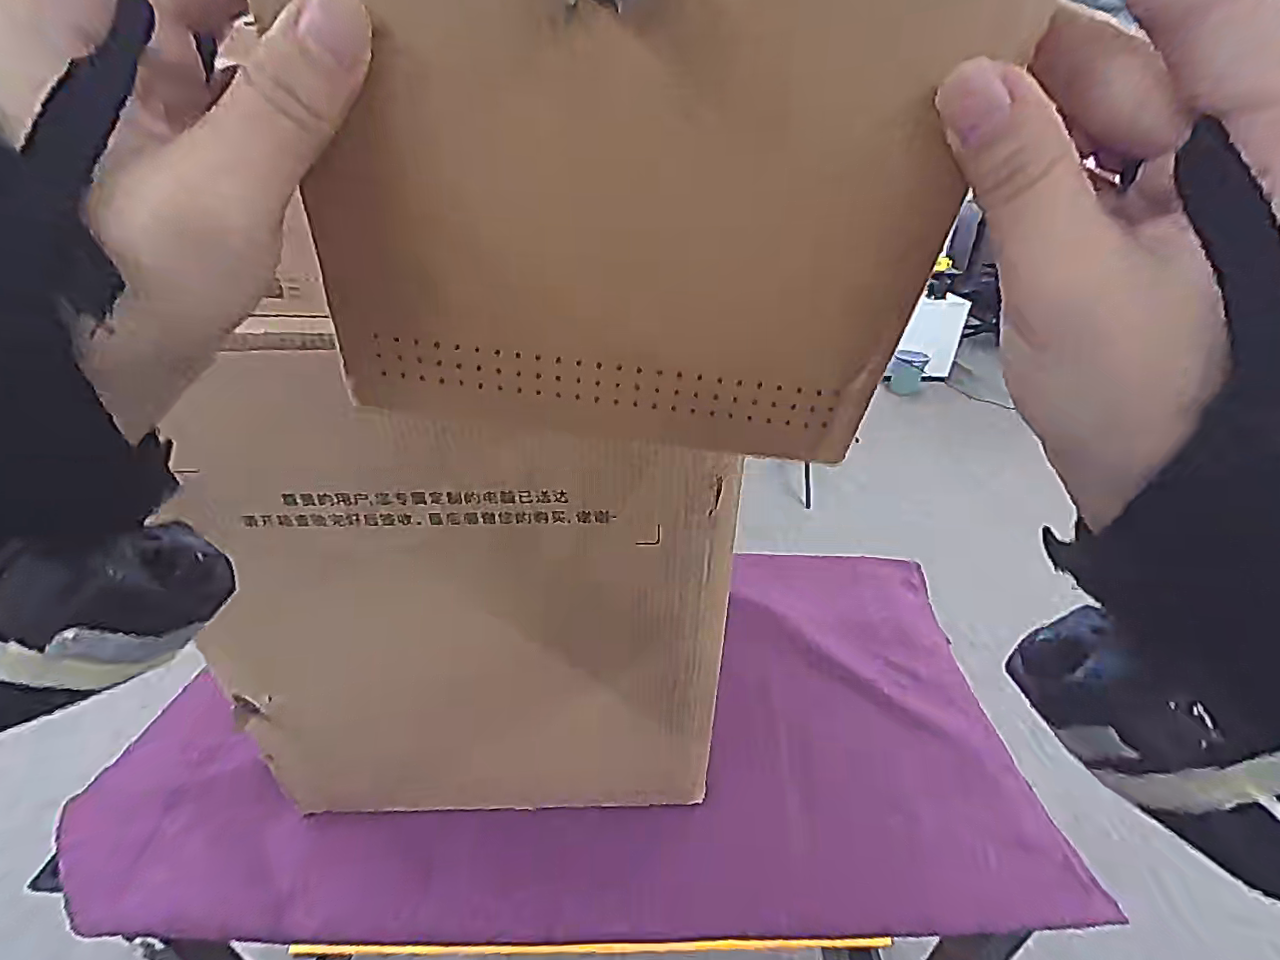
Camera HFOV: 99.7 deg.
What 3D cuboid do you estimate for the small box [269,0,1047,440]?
[{"bbox_3d":[0.003,-0.132,0.200,0.179,0.176,0.168,6,40,-2],"label":"small box"}]

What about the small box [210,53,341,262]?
[{"bbox_3d":[-0.288,-0.329,0.573,0.179,0.176,0.168,0,31,-5],"label":"small box"}]
